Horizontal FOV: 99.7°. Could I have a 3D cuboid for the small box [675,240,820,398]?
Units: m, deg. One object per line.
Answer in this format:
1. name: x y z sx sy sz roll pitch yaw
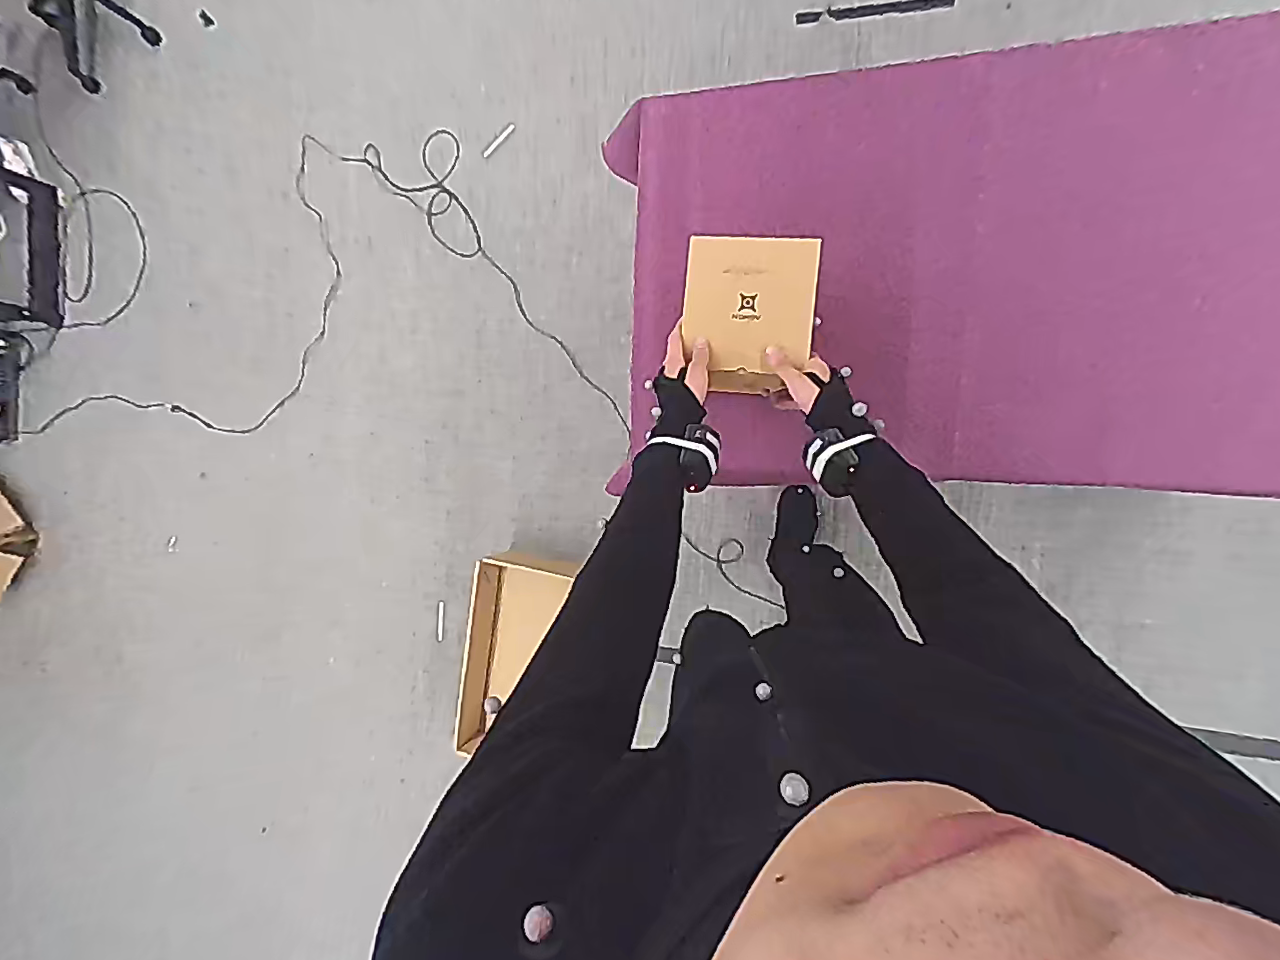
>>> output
1. small box: 0.148 -0.216 0.763 0.168 0.176 0.179 6 91 9
